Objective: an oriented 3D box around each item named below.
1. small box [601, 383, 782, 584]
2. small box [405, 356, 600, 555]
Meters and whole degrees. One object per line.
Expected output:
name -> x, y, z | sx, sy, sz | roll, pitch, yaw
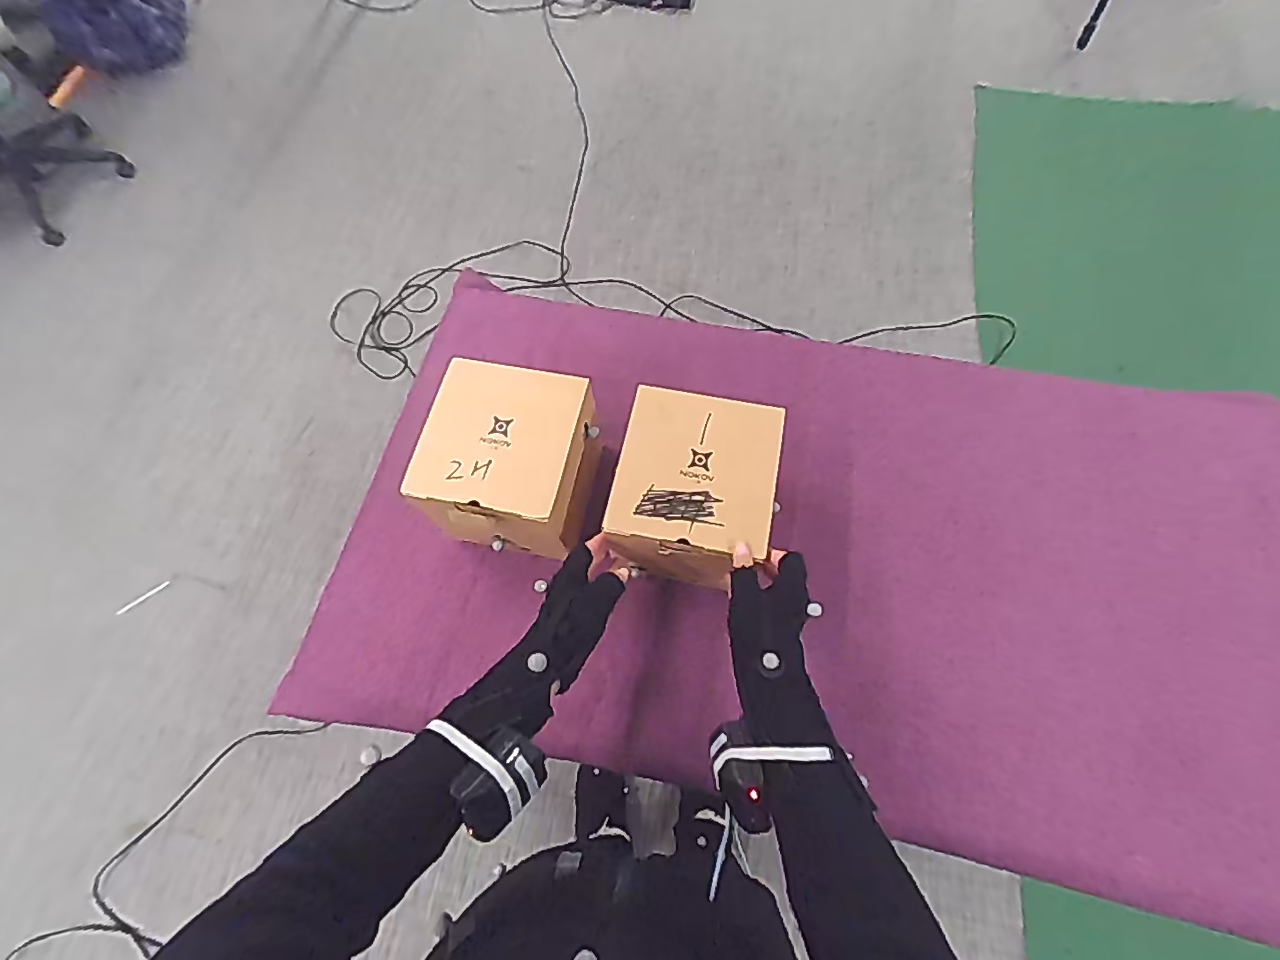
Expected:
small box -> 0.061, 0.013, 0.641 | 0.168, 0.176, 0.179 | 11, 68, 7
small box -> -0.150, -0.023, 0.665 | 0.168, 0.176, 0.179 | 10, 69, 7
